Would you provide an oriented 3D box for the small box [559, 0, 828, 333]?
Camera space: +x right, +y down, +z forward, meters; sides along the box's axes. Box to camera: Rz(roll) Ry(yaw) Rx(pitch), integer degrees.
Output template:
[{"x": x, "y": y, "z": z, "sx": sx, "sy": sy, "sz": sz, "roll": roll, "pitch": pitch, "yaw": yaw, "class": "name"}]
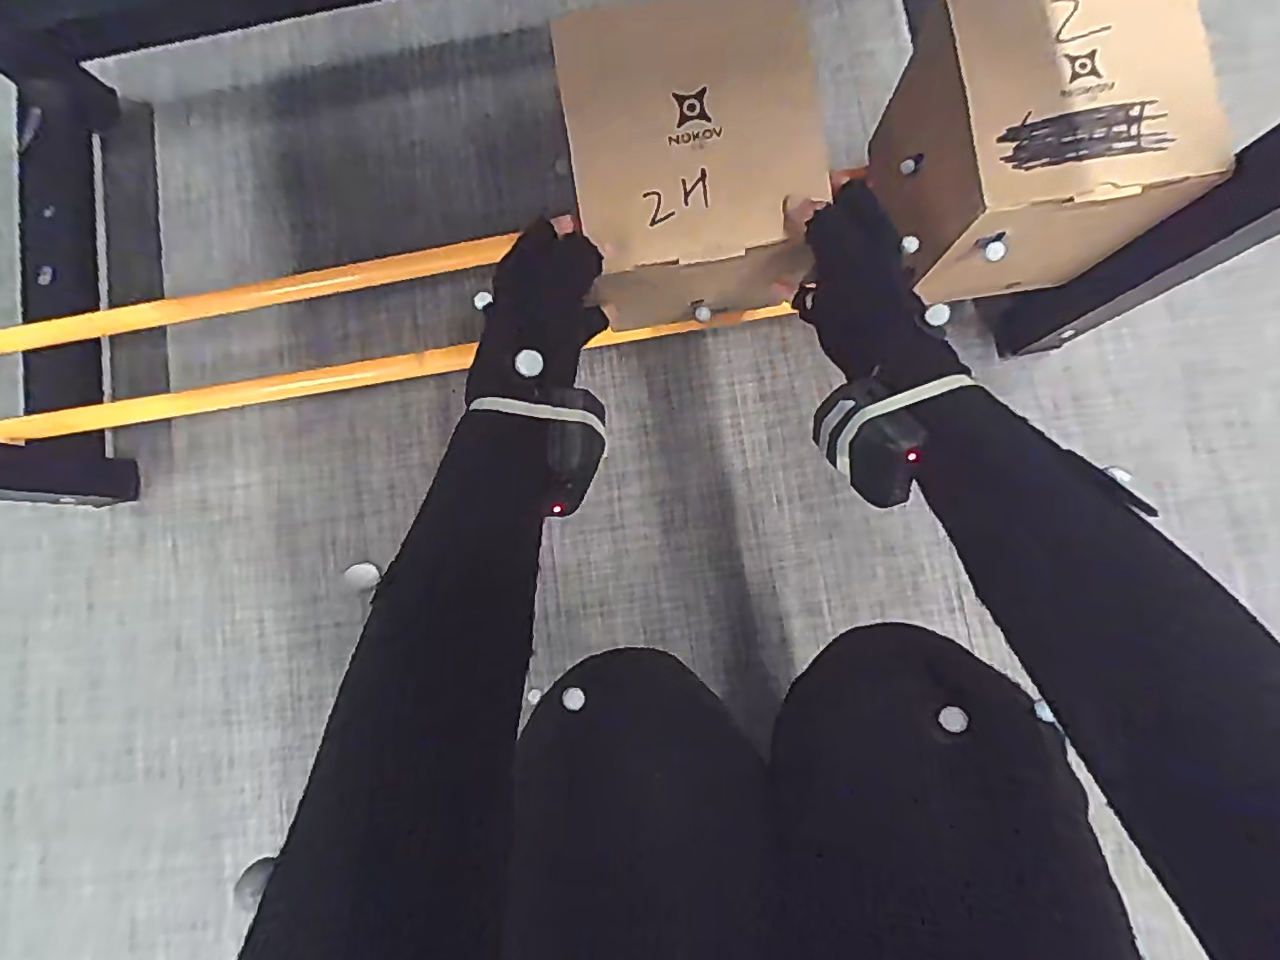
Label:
[{"x": 0.038, "y": -0.238, "z": 0.443, "sx": 0.168, "sy": 0.176, "sz": 0.179, "roll": -8, "pitch": 91, "yaw": 4, "class": "small box"}]
